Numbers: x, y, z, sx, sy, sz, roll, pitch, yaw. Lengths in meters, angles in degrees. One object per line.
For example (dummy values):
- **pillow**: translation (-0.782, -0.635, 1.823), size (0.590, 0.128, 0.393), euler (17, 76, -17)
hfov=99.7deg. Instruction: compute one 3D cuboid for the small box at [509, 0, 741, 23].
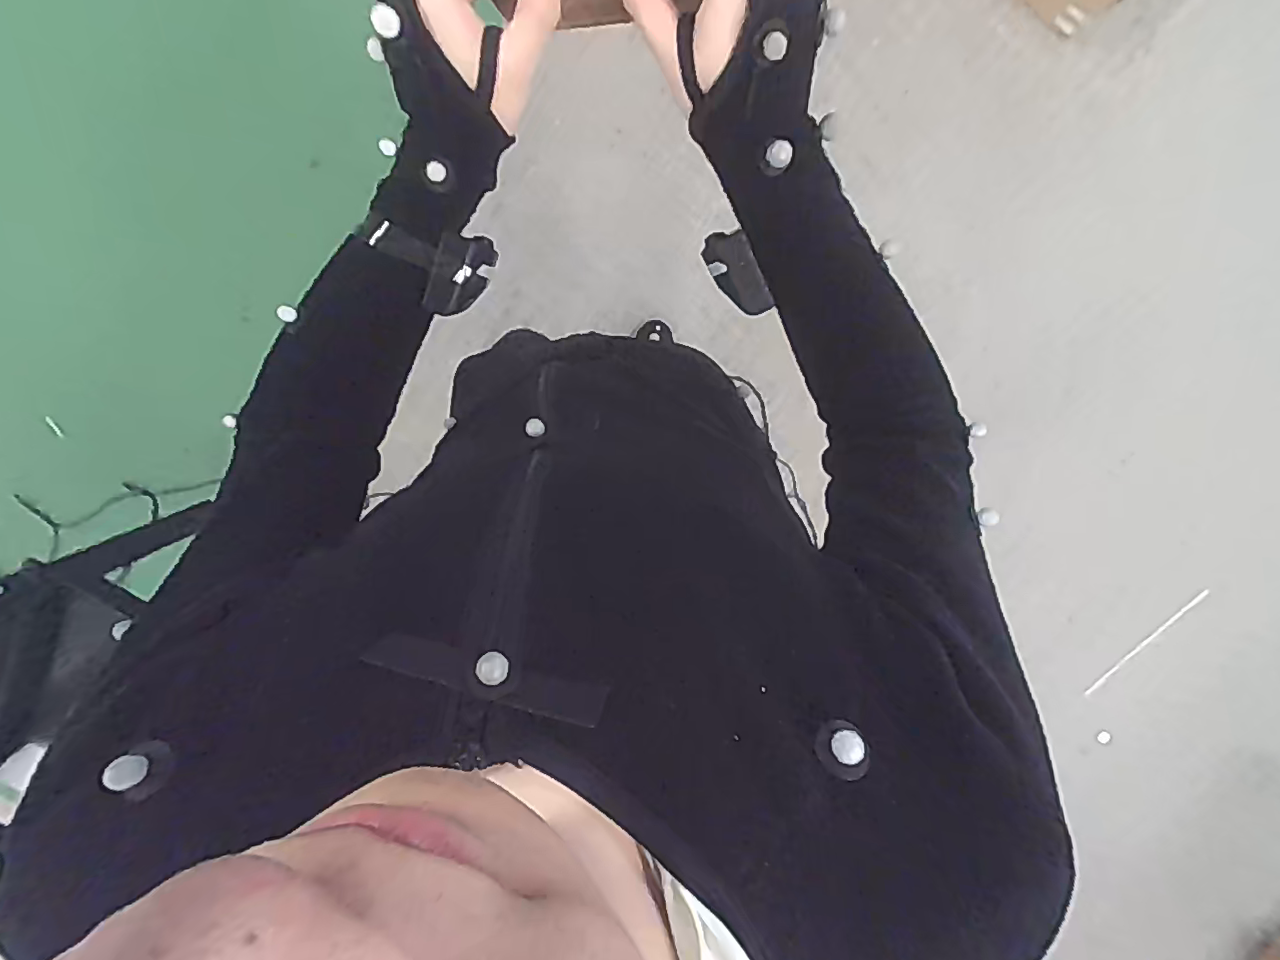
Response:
- **small box**: translation (-0.020, -0.381, 0.285), size (0.168, 0.176, 0.179), euler (3, 106, 9)
